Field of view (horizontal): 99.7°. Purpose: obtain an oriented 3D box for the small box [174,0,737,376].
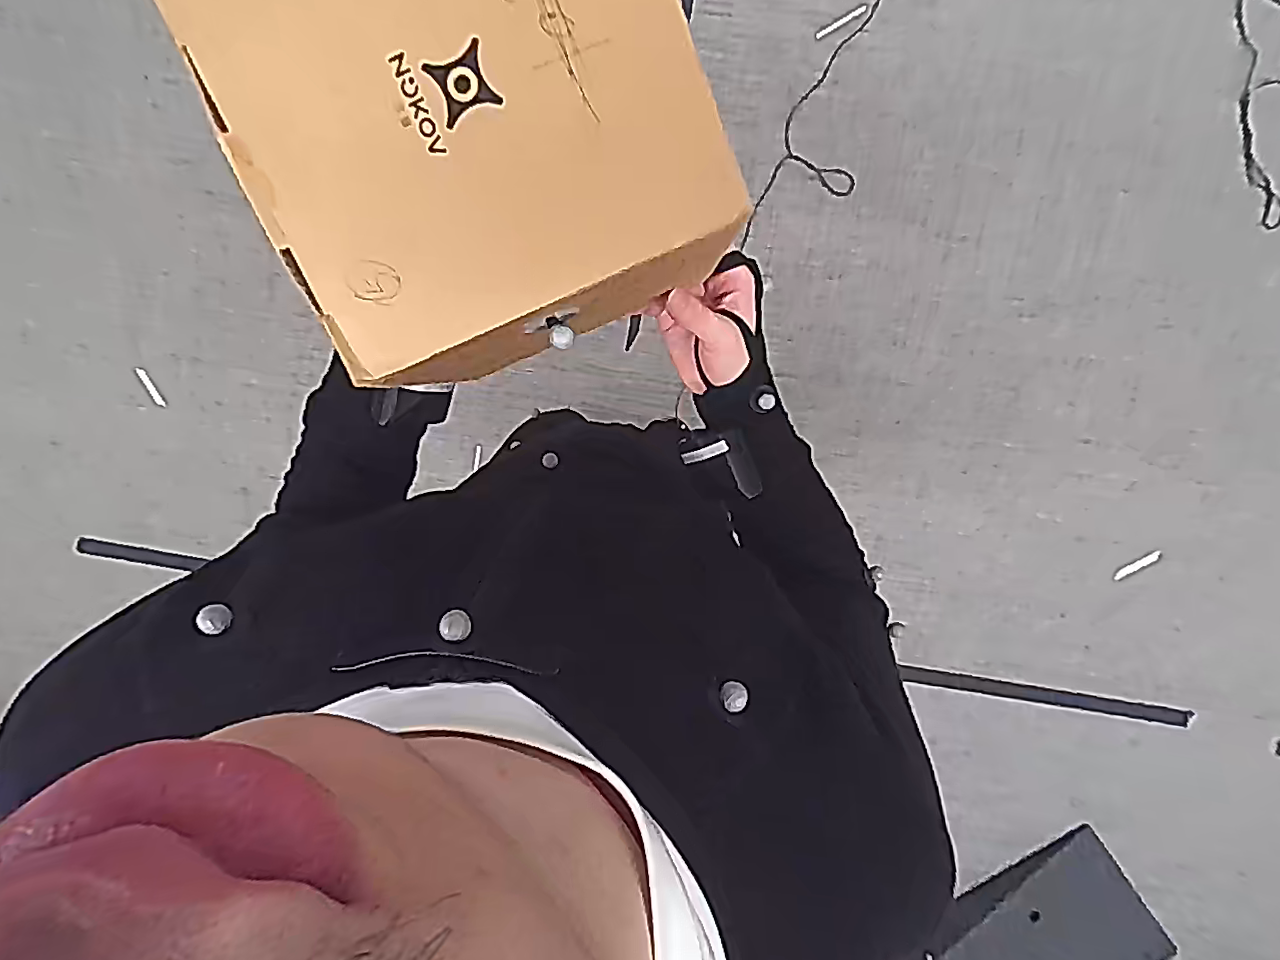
[{"bbox_3d":[-0.067,-0.164,0.289,0.179,0.176,0.168,-23,101,5],"label":"small box"}]
